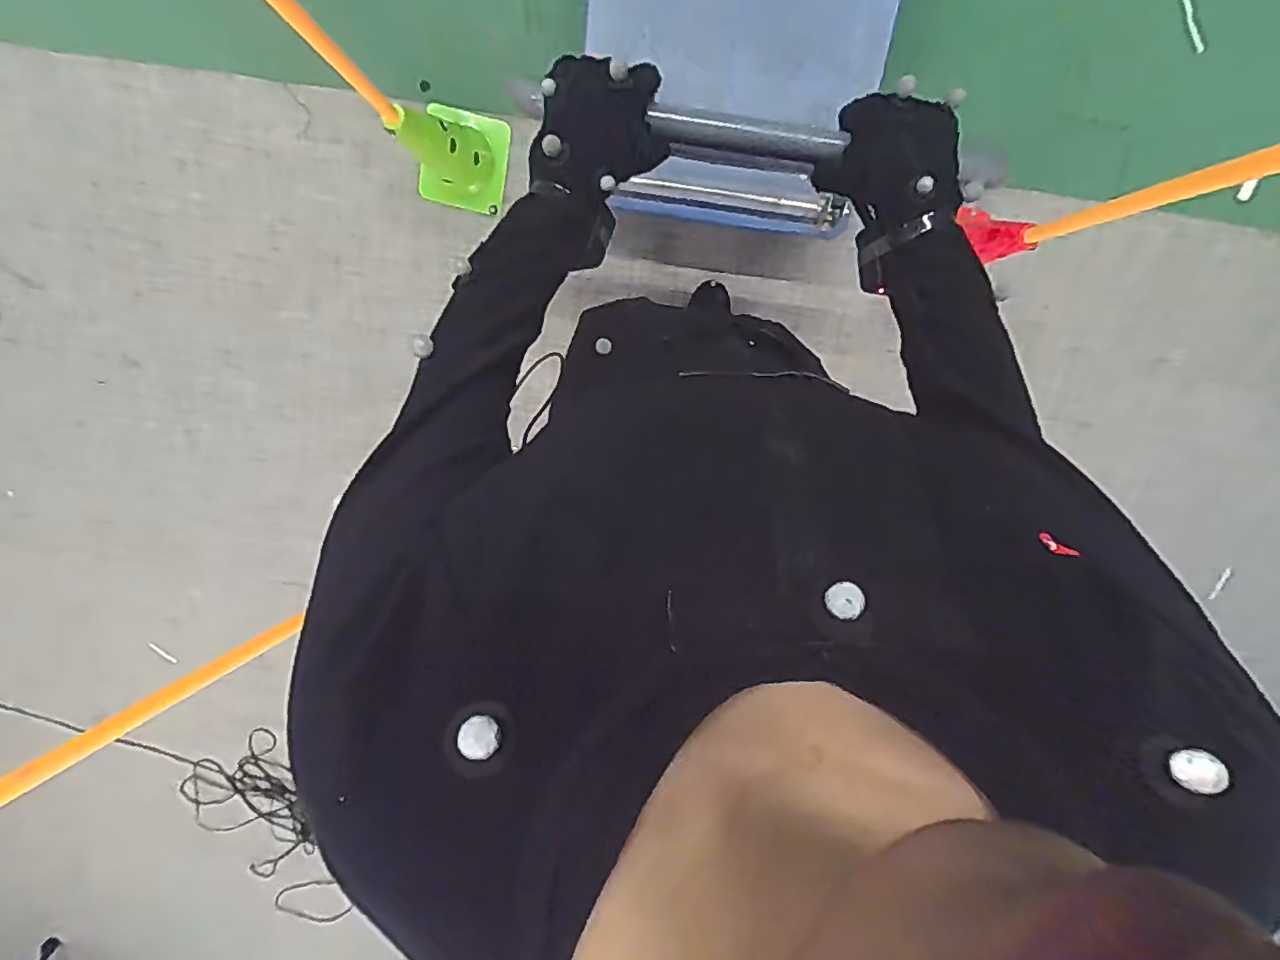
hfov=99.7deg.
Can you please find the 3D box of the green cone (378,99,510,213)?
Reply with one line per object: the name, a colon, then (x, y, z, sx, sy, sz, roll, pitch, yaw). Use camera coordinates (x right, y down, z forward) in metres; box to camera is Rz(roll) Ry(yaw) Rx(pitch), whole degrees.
green cone: (-0.422, -0.700, 1.109, 0.202, 0.368, 0.200, 13, 109, -1)
